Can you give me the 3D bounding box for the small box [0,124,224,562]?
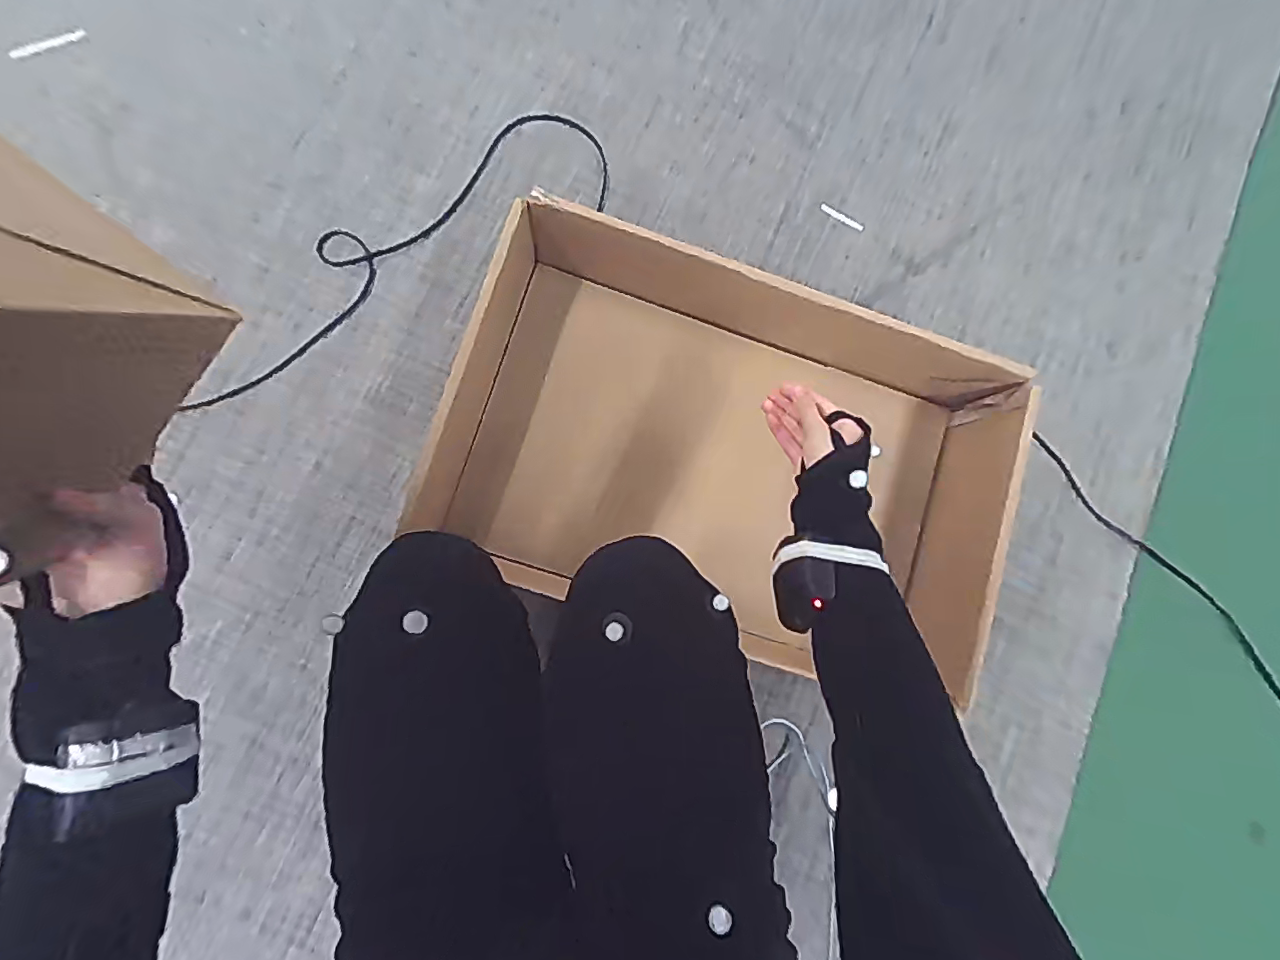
[{"bbox_3d":[-0.299,-0.059,0.178,0.168,0.179,0.176,40,97,-15],"label":"small box"}]
